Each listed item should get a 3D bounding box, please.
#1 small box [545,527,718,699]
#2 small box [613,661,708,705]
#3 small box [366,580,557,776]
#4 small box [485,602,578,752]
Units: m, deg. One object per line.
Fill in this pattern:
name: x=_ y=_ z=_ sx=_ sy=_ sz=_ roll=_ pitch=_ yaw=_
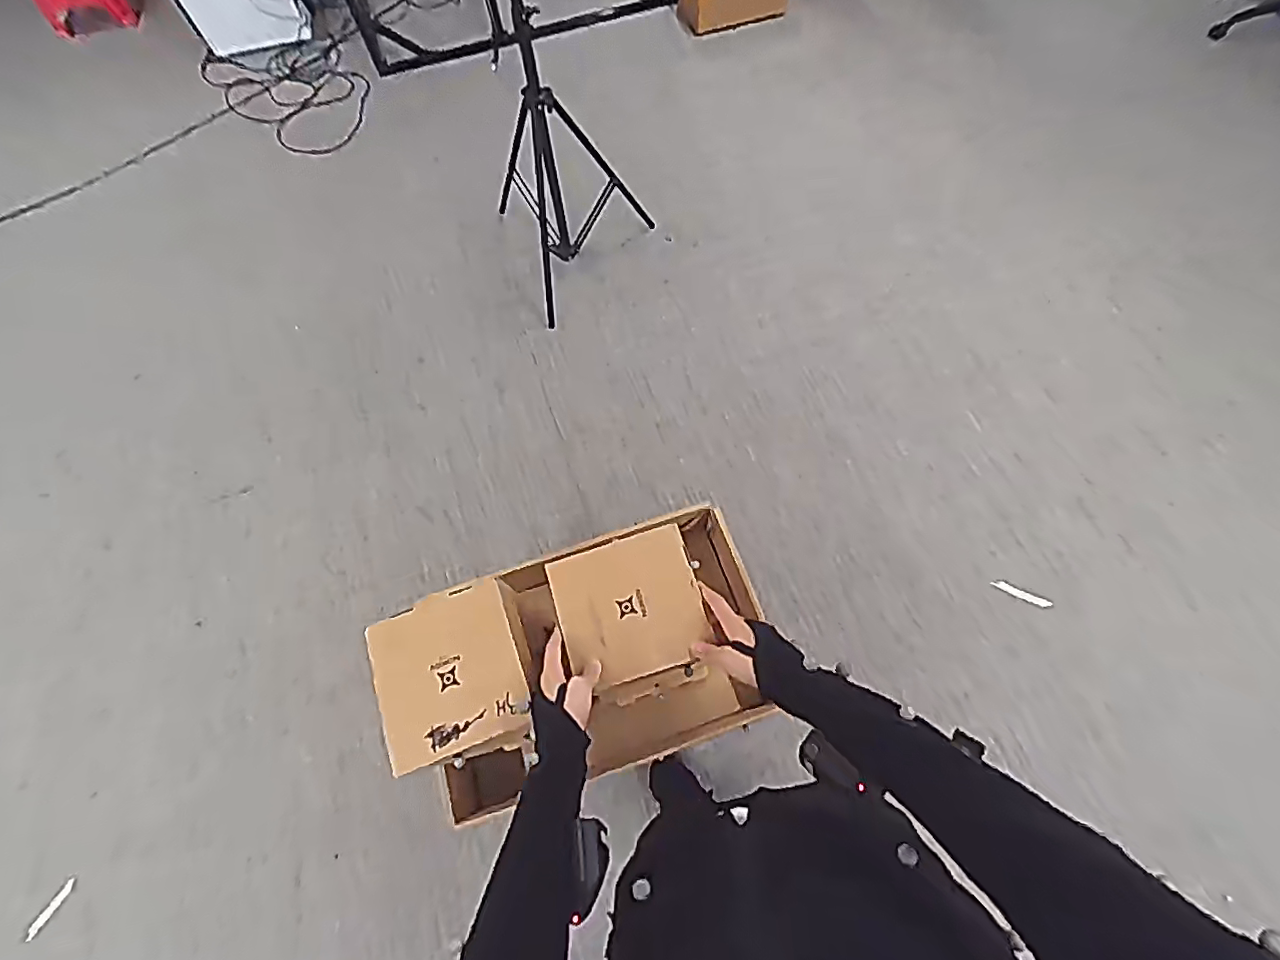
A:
small box: x=-0.008 y=0.180 z=0.724 sx=0.179 sy=0.176 sz=0.168 roll=-18 pitch=69 yaw=-1
small box: x=0.022 y=0.312 z=1.021 sx=0.168 sy=0.176 sz=0.179 roll=-17 pitch=69 yaw=-1
small box: x=-0.220 y=0.254 z=0.696 sx=0.168 sy=0.176 sz=0.179 roll=-21 pitch=67 yaw=-5
small box: x=-0.208 y=0.314 z=0.850 sx=0.168 sy=0.176 sz=0.179 roll=-20 pitch=69 yaw=-6
